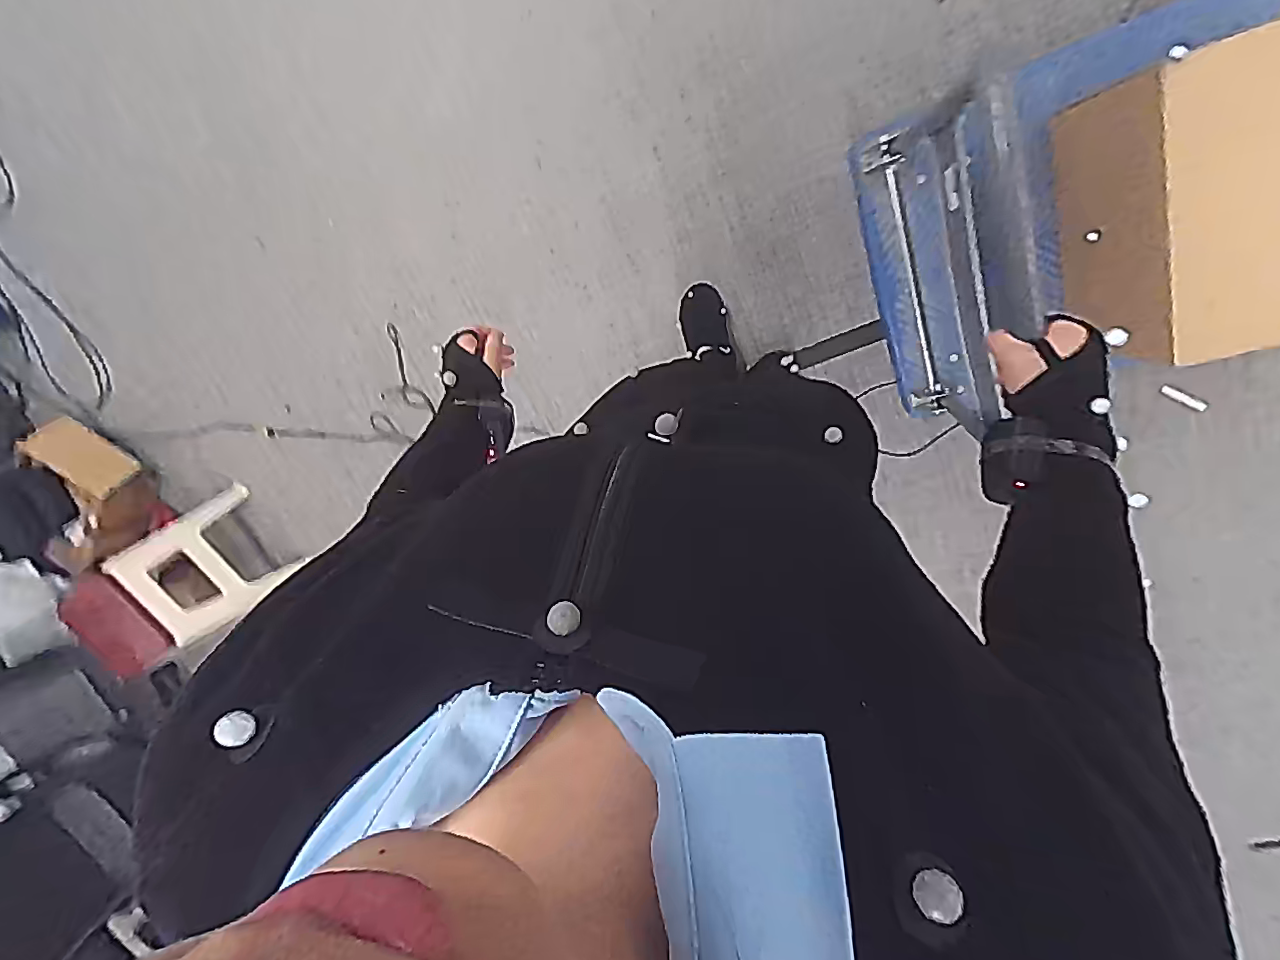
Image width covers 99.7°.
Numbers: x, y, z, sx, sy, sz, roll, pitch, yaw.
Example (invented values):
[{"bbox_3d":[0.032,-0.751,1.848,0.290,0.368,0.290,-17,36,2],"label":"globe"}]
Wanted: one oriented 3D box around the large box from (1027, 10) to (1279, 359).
[{"bbox_3d":[0.878,-0.449,0.860,0.320,0.320,0.408,-15,106,17],"label":"large box"}]
